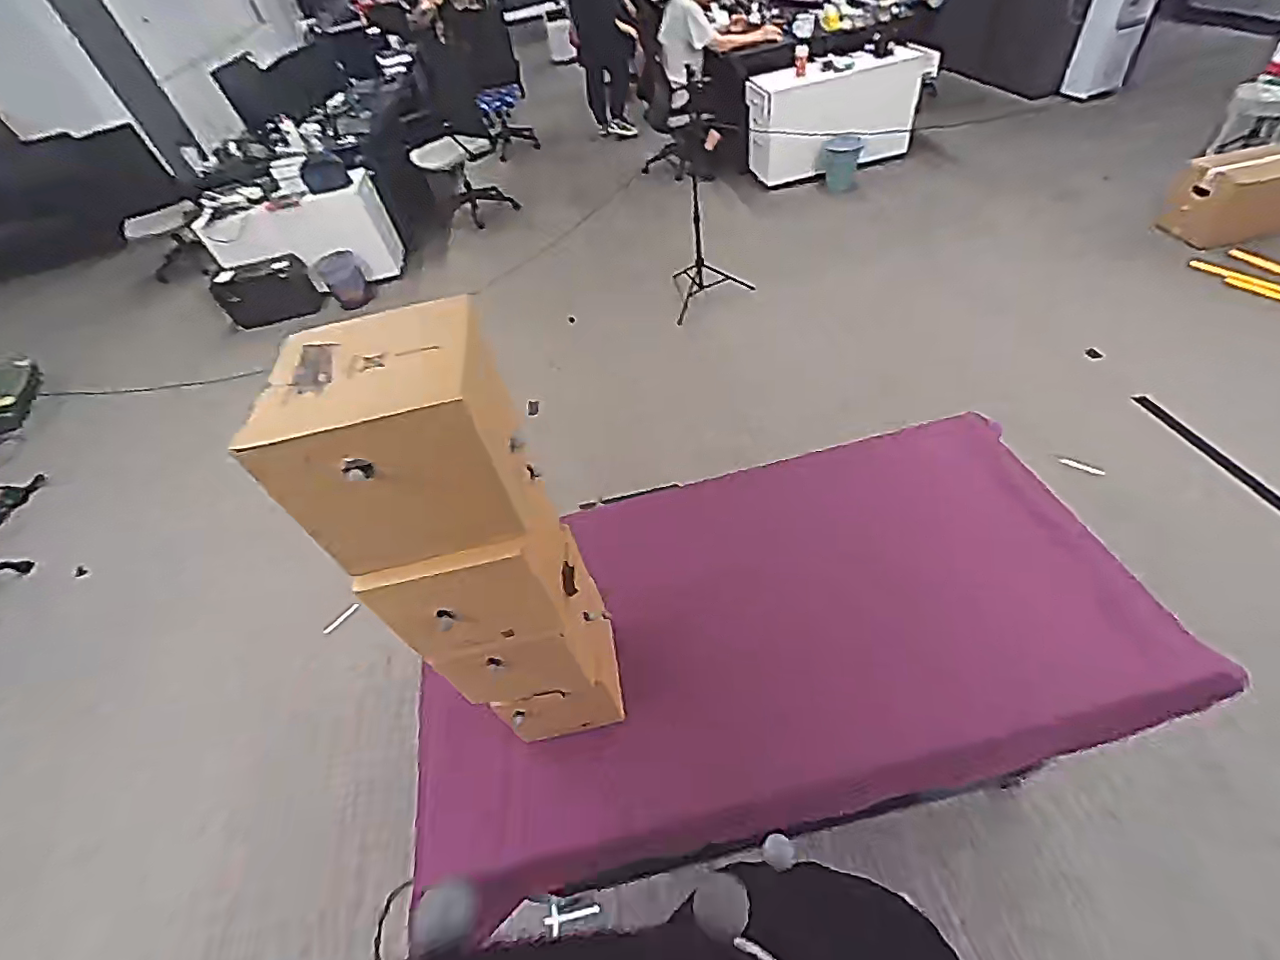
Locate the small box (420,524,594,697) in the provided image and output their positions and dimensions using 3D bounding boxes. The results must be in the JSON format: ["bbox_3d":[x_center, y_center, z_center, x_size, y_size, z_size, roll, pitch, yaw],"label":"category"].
[{"bbox_3d":[-0.168,0.184,0.745,0.179,0.176,0.168,-8,48,4],"label":"small box"}]

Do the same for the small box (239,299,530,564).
[{"bbox_3d":[-0.215,-0.041,0.513,0.179,0.176,0.168,-13,47,-1],"label":"small box"}]

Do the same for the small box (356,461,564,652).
[{"bbox_3d":[-0.190,0.079,0.622,0.168,0.176,0.179,-13,46,0],"label":"small box"}]
